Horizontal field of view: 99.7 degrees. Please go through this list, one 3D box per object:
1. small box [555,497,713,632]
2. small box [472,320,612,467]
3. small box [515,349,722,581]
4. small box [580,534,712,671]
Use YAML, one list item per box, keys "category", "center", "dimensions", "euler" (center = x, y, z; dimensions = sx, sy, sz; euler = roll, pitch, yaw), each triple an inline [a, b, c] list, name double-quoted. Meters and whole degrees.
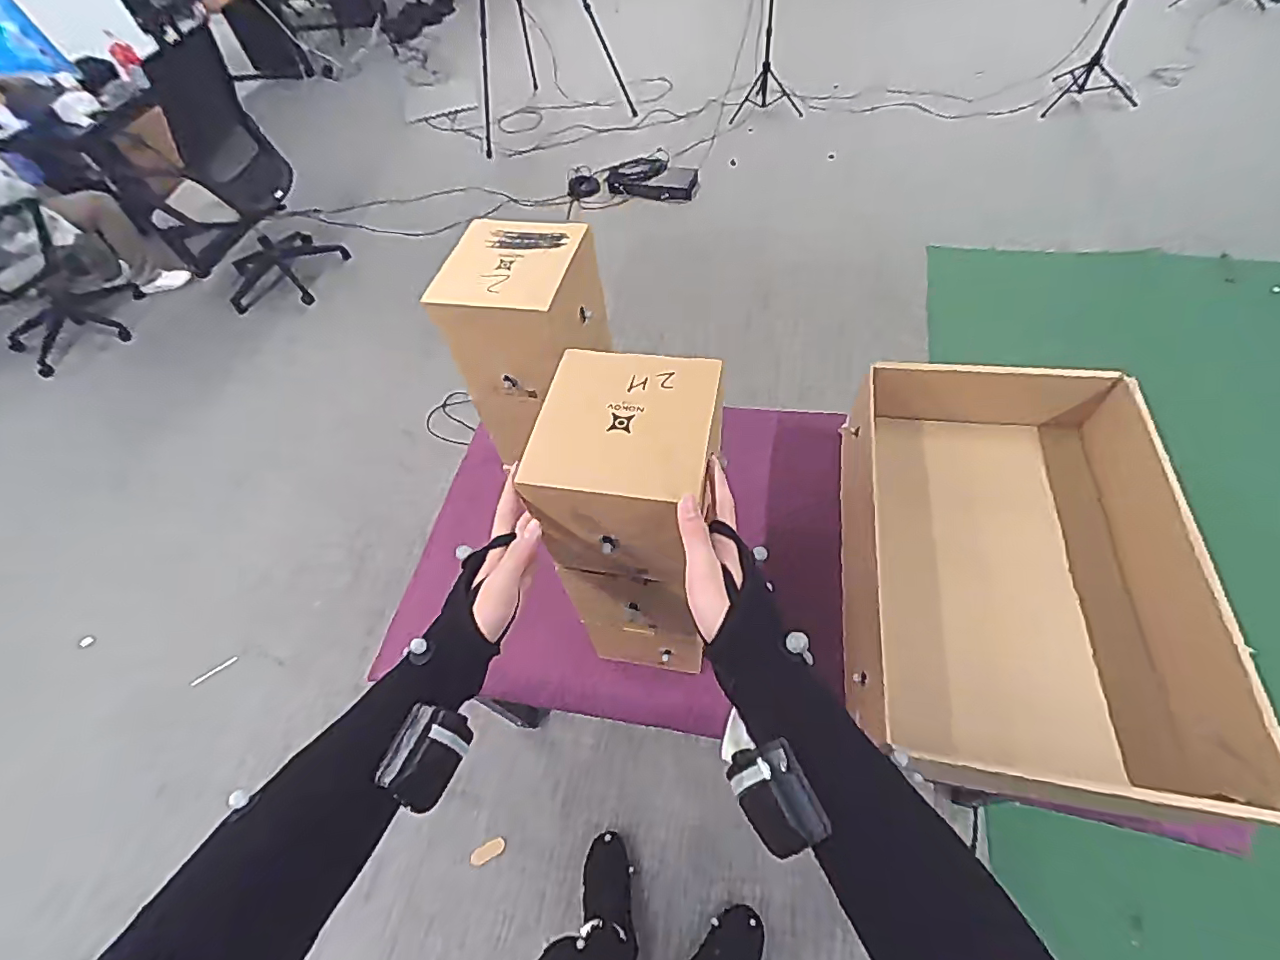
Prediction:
- category: "small box"
  center: [0.005, 0.083, 0.707]
  dimensions: [0.168, 0.176, 0.179]
  euler: [6, 56, 10]
- category: "small box"
  center: [-0.139, -0.129, 0.872]
  dimensions: [0.168, 0.176, 0.179]
  euler: [8, 57, 13]
- category: "small box"
  center: [-0.007, -0.012, 0.572]
  dimensions: [0.168, 0.176, 0.179]
  euler: [8, 55, 11]
- category: "small box"
  center: [0.020, 0.180, 0.838]
  dimensions: [0.168, 0.176, 0.179]
  euler: [6, 55, 11]
